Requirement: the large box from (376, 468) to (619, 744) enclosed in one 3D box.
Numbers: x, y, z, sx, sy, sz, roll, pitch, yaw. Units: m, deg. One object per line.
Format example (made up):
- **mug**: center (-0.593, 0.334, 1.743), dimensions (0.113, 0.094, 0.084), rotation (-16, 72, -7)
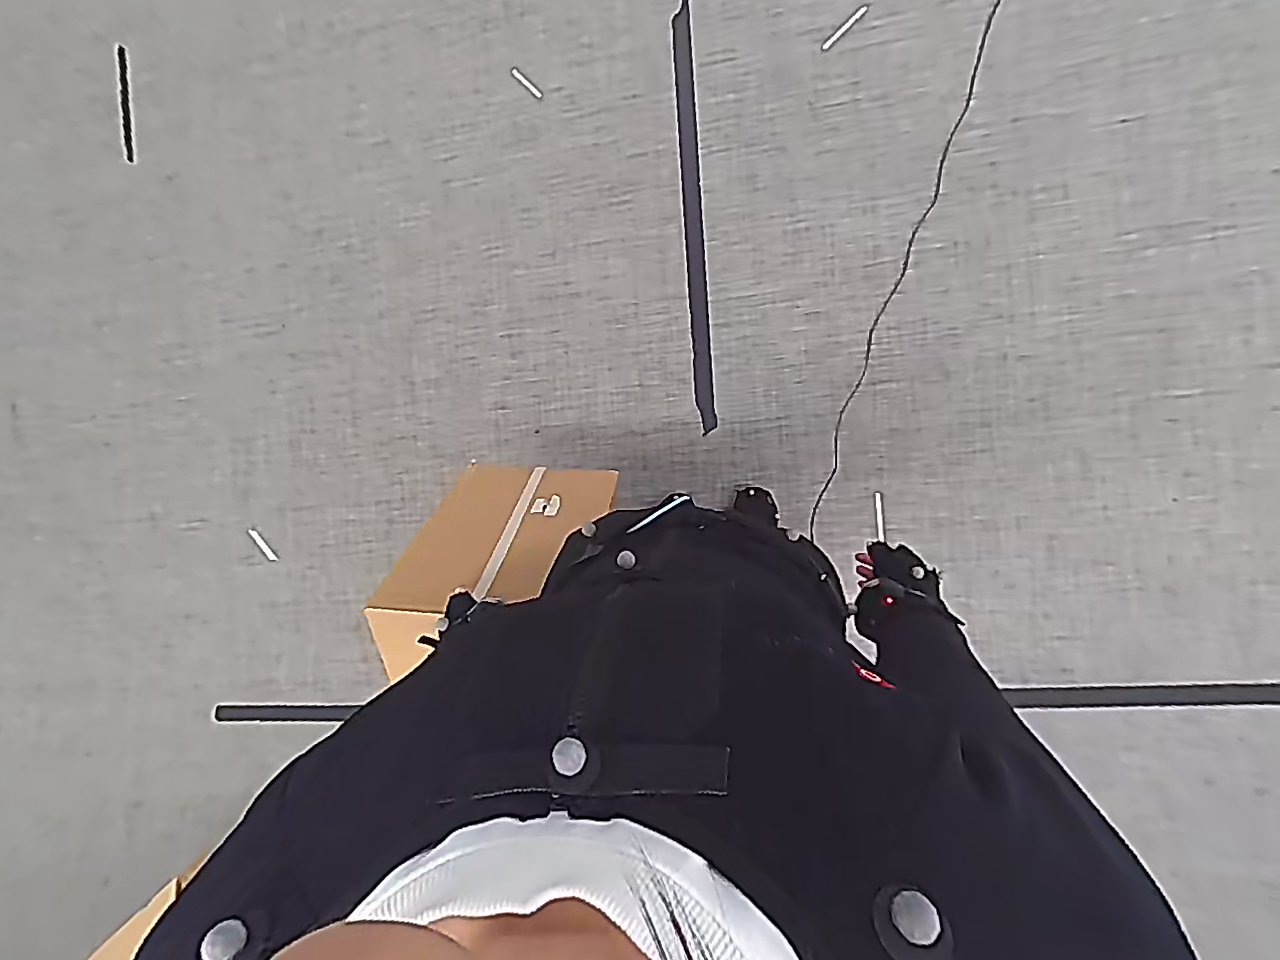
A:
- **large box**: center (-0.215, 0.214, 1.007), dimensions (0.320, 0.408, 0.320), rotation (4, 122, 4)
